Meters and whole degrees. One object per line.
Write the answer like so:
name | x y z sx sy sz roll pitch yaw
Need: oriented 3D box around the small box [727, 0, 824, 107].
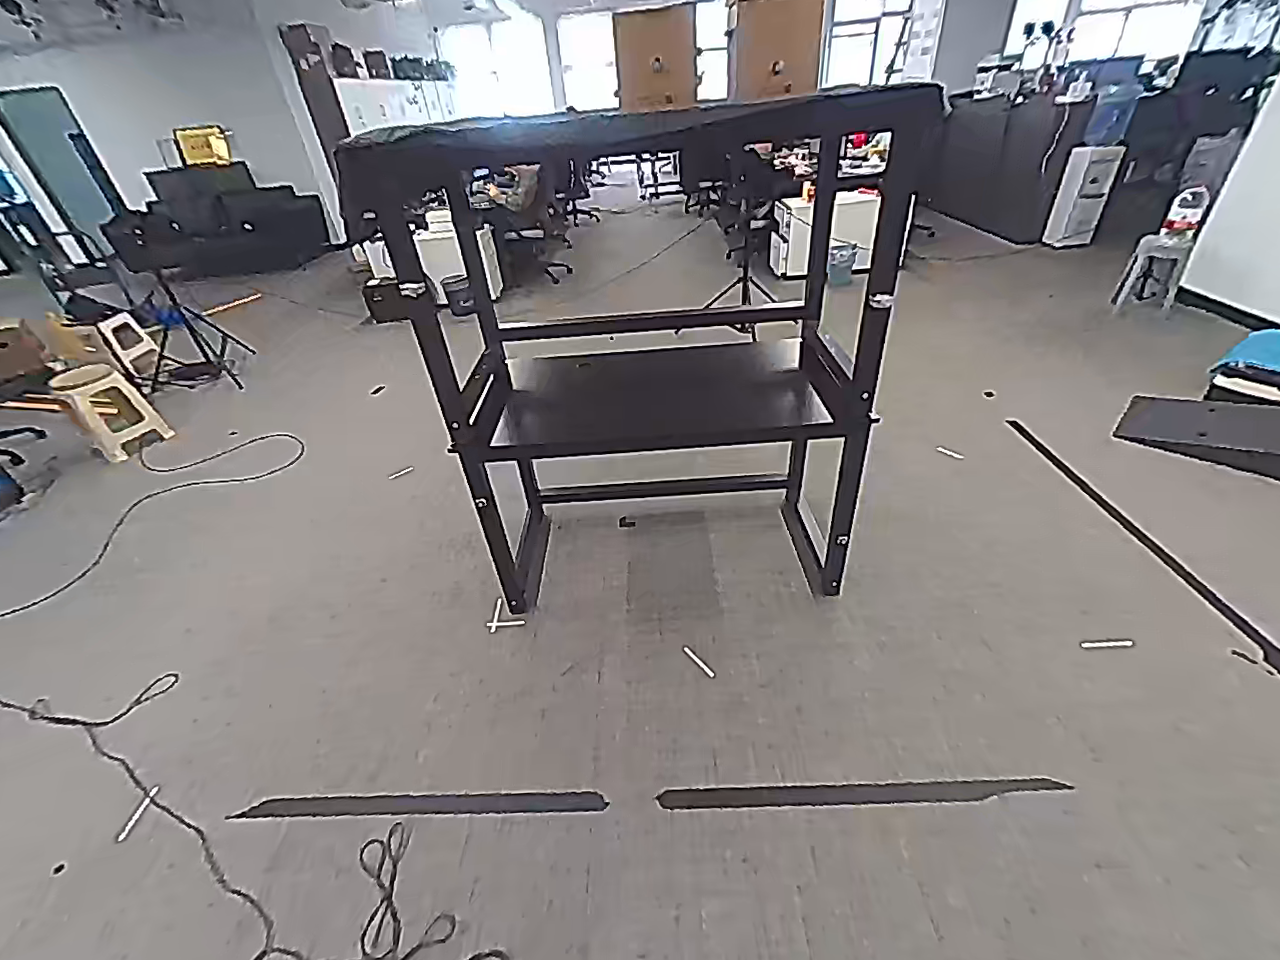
small box | 0.273 -0.885 1.127 0.168 0.176 0.179 -4 35 4

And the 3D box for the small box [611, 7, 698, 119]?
small box | 0.036 -0.872 1.143 0.168 0.176 0.179 -2 35 5

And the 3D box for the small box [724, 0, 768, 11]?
small box | 0.260 -1.013 1.021 0.179 0.176 0.168 -5 35 -1
